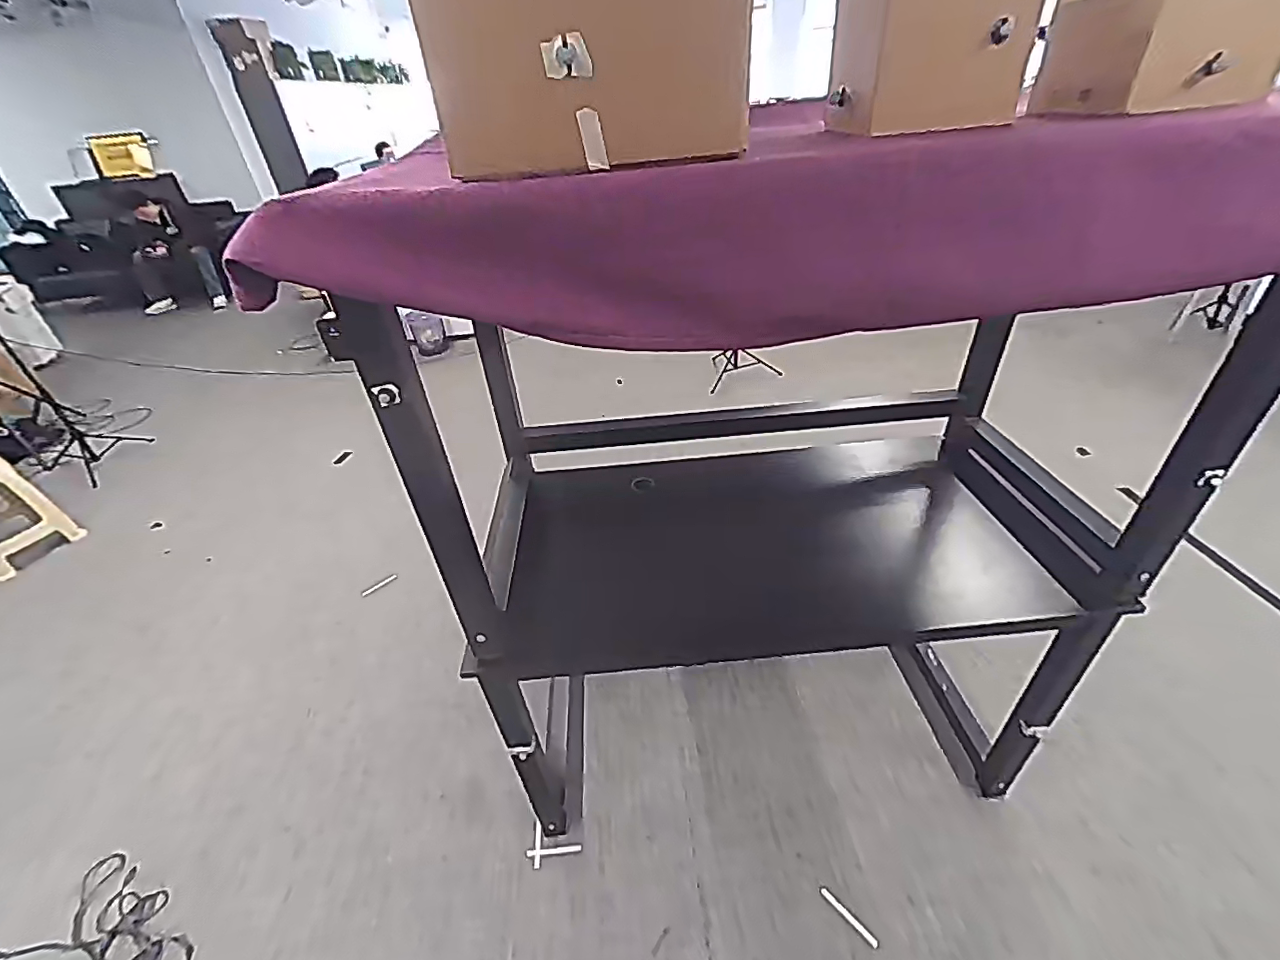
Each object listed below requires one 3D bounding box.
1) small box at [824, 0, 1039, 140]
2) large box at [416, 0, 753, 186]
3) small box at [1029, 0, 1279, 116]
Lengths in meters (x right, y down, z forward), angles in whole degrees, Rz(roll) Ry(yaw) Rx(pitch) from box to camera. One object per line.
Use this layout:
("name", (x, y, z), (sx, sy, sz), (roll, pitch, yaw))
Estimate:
("small box", (0.341, -0.524, 0.656), (0.179, 0.176, 0.168), (-6, 35, 0))
("large box", (-0.066, -0.548, 0.630), (0.320, 0.320, 0.408), (-6, 34, -1))
("small box", (0.608, -0.533, 0.628), (0.179, 0.176, 0.168), (-7, 35, -2))
